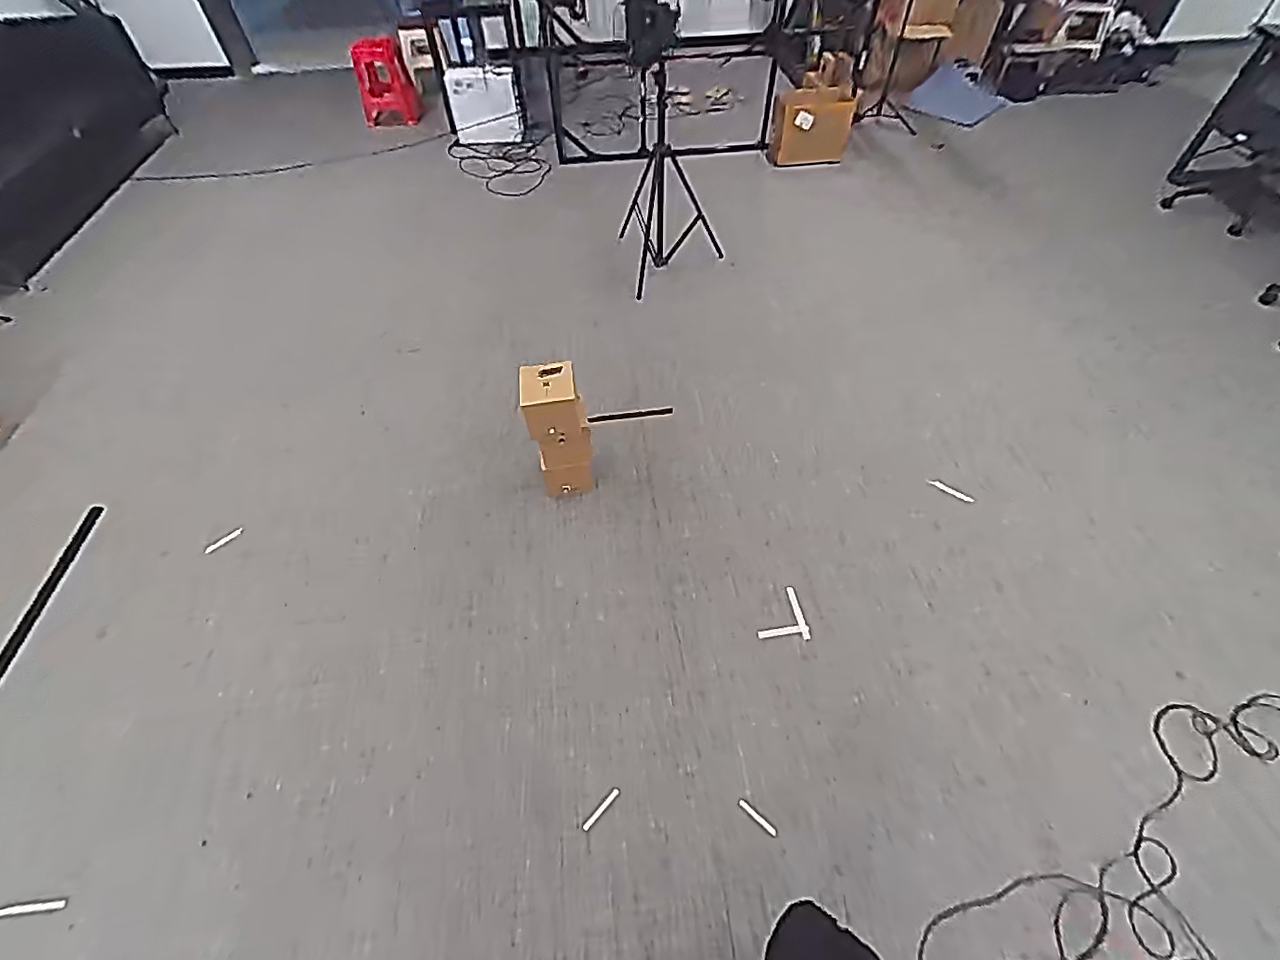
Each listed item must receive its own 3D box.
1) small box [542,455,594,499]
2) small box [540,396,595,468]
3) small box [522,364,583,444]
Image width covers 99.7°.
[{"bbox_3d":[-0.265,-0.056,1.984,0.168,0.176,0.179,-10,53,-5],"label":"small box"},{"bbox_3d":[-0.258,-0.160,1.857,0.179,0.176,0.168,-11,53,-5],"label":"small box"},{"bbox_3d":[-0.276,-0.240,1.712,0.168,0.176,0.179,-8,53,-2],"label":"small box"}]
